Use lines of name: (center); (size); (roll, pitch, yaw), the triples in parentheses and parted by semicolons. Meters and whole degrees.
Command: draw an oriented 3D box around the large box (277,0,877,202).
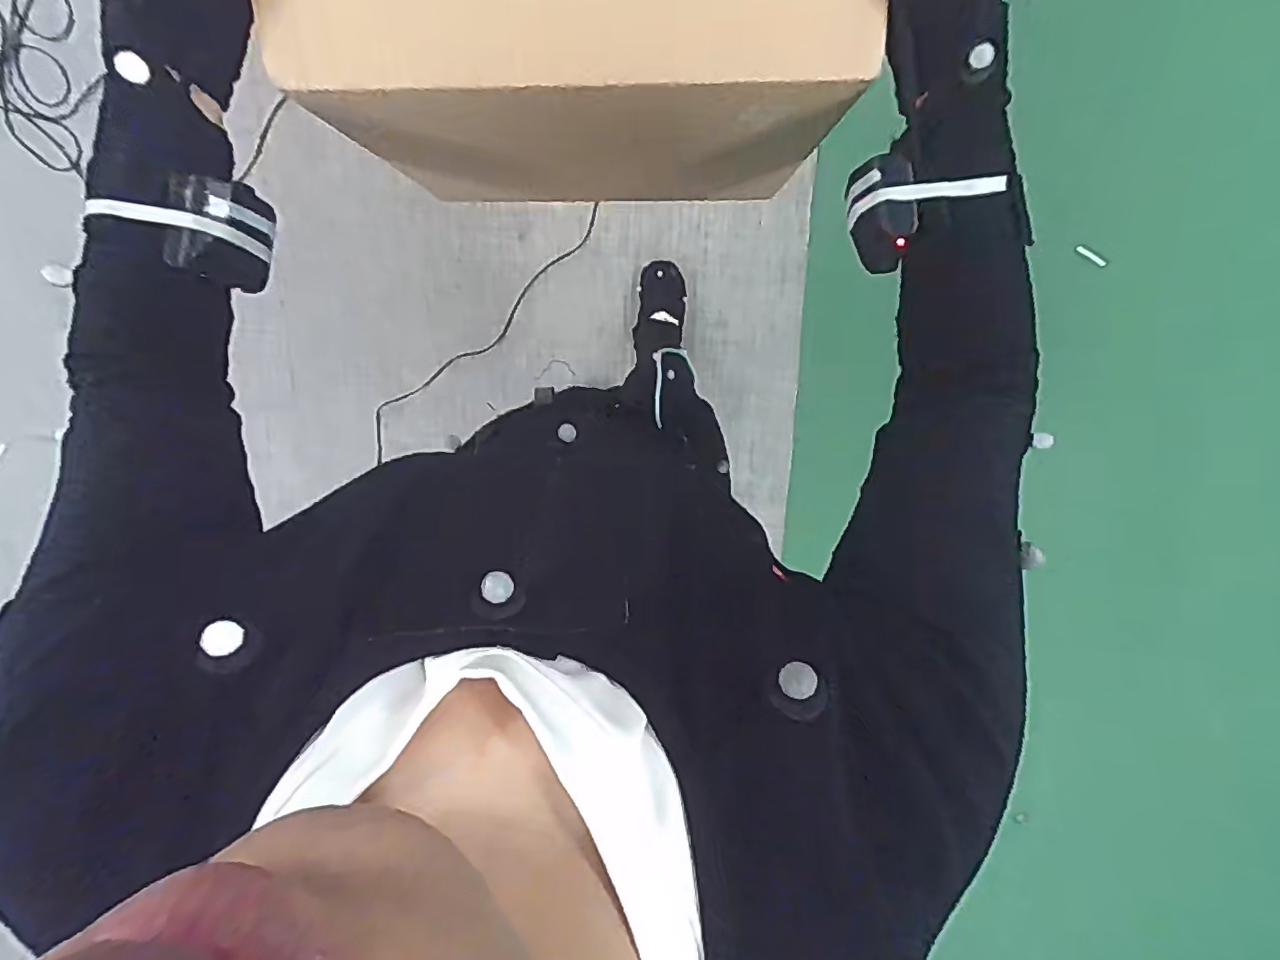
large box: (-0.045, -0.455, 0.475); (0.408, 0.320, 0.320); (-1, 105, 0)
